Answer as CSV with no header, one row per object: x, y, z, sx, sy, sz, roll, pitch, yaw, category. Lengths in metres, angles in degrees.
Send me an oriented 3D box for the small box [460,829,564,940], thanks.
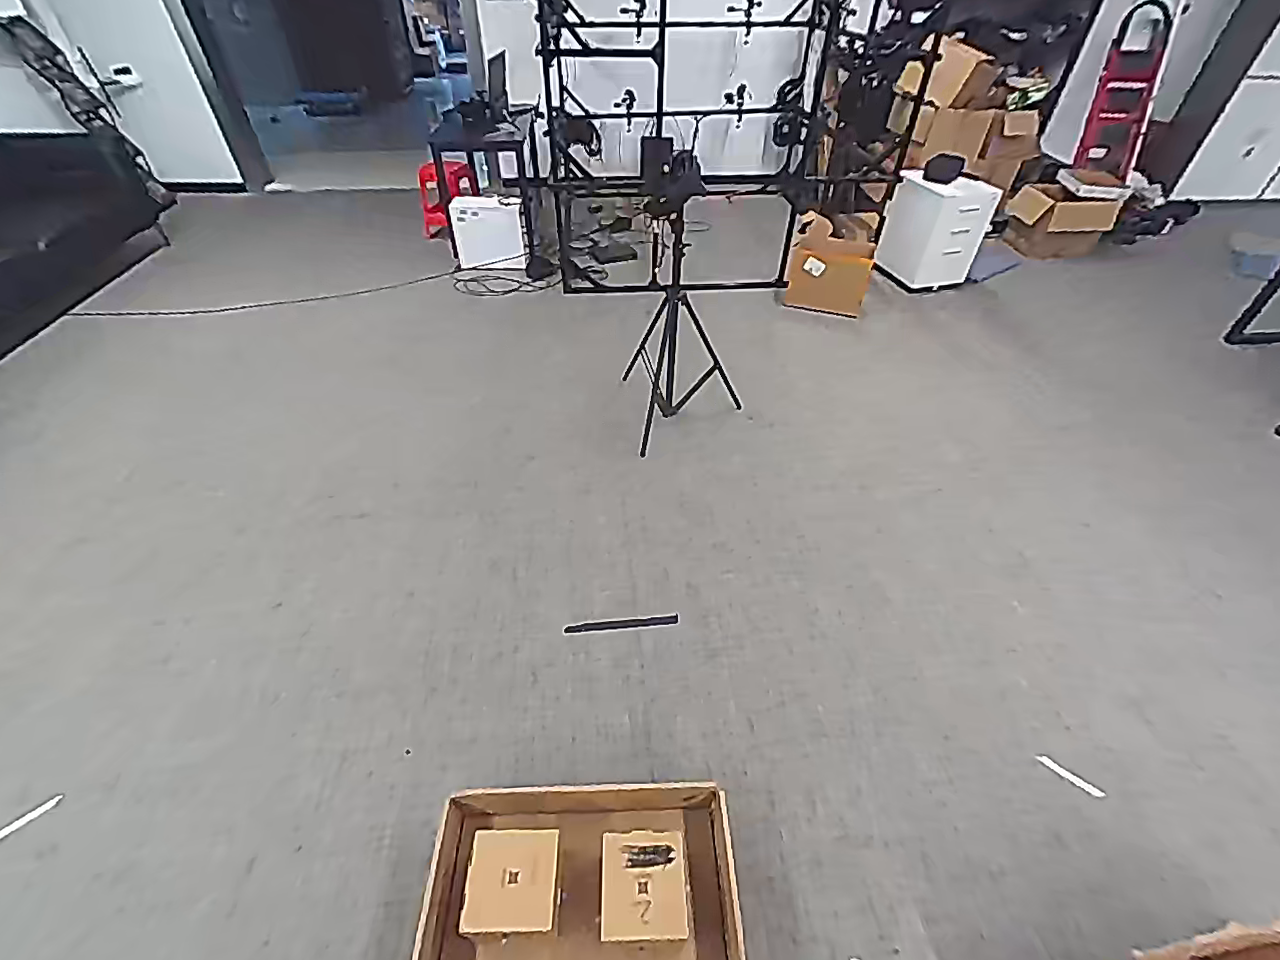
-0.257,0.846,1.129,0.179,0.176,0.168,1,45,-3,small box
